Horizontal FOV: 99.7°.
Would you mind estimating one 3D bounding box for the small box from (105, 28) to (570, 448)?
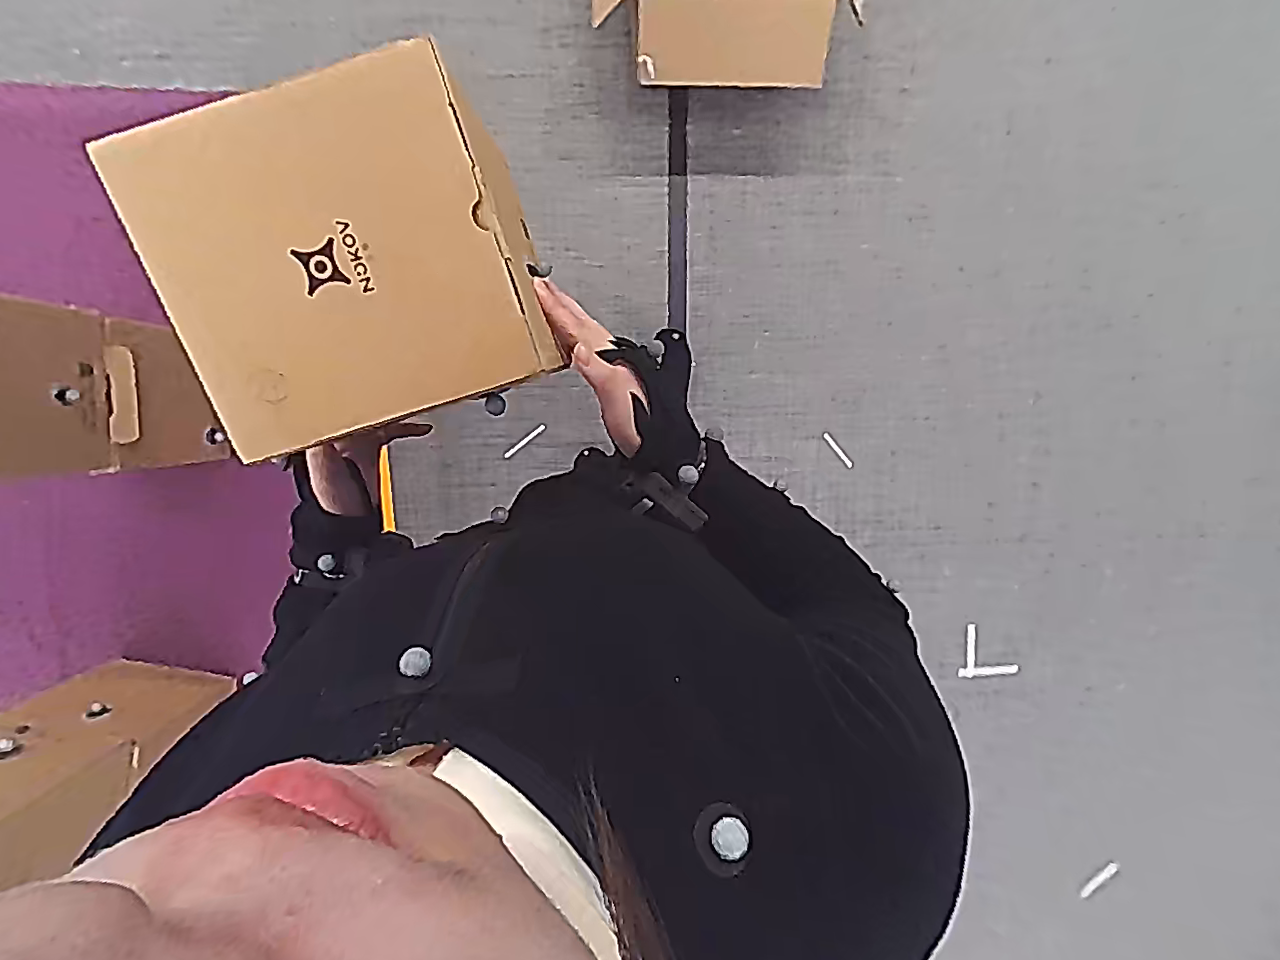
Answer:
[{"bbox_3d":[-0.156,-0.131,0.351,0.179,0.176,0.168,-17,104,1],"label":"small box"}]

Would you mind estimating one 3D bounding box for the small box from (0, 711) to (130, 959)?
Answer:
[{"bbox_3d":[-0.674,0.369,0.546,0.168,0.176,0.179,12,96,-3],"label":"small box"}]

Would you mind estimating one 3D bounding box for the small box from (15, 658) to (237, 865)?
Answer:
[{"bbox_3d":[-0.676,0.354,0.709,0.179,0.176,0.168,11,96,-2],"label":"small box"}]

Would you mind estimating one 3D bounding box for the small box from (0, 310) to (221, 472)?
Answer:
[{"bbox_3d":[-0.642,-0.105,0.647,0.179,0.176,0.168,3,97,0],"label":"small box"}]
